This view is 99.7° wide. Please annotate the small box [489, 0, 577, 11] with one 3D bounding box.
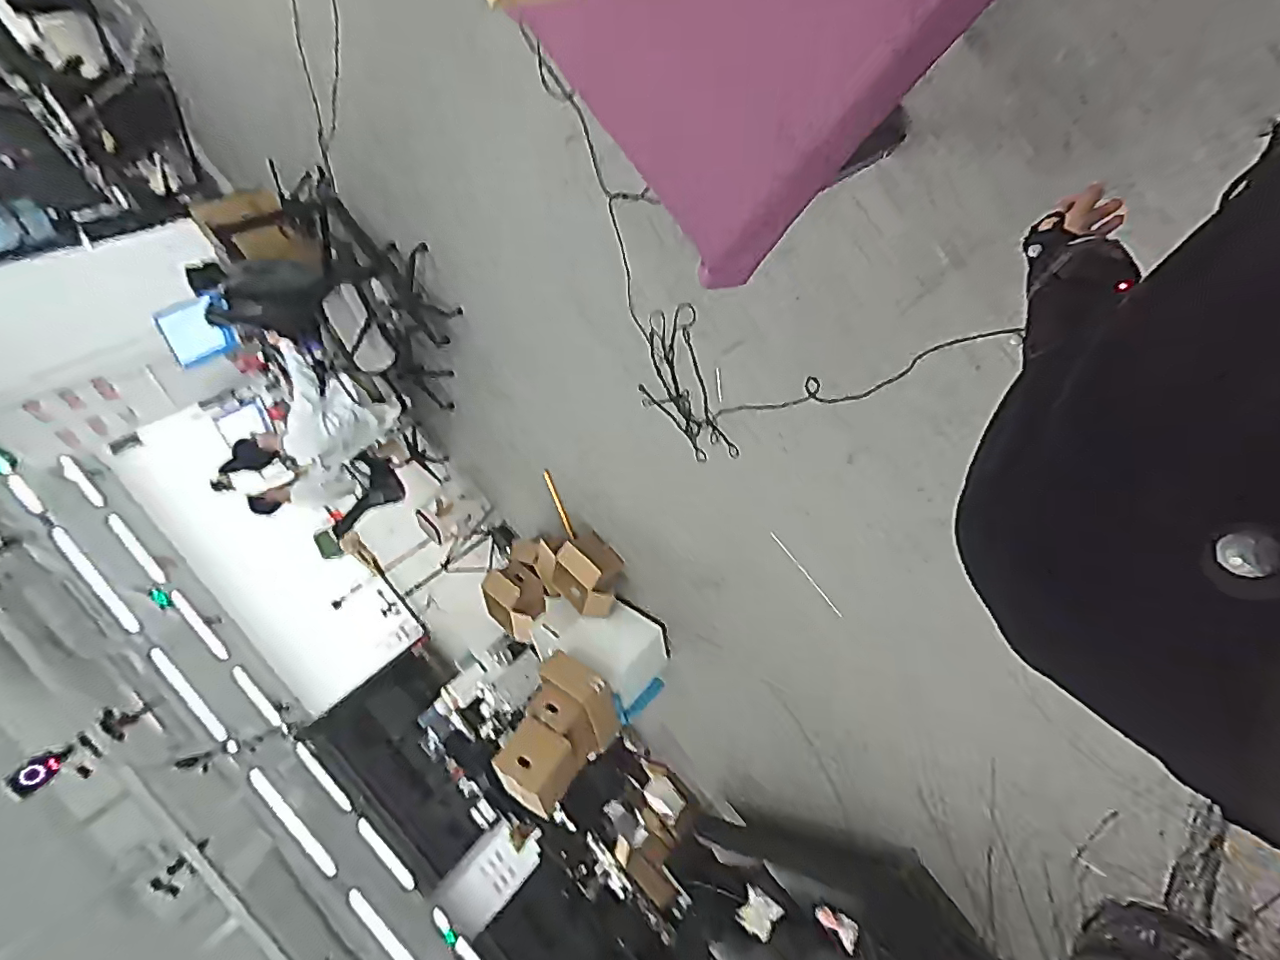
[{"bbox_3d":[-0.135,-0.753,0.688,0.179,0.176,0.168,-16,111,54],"label":"small box"}]
